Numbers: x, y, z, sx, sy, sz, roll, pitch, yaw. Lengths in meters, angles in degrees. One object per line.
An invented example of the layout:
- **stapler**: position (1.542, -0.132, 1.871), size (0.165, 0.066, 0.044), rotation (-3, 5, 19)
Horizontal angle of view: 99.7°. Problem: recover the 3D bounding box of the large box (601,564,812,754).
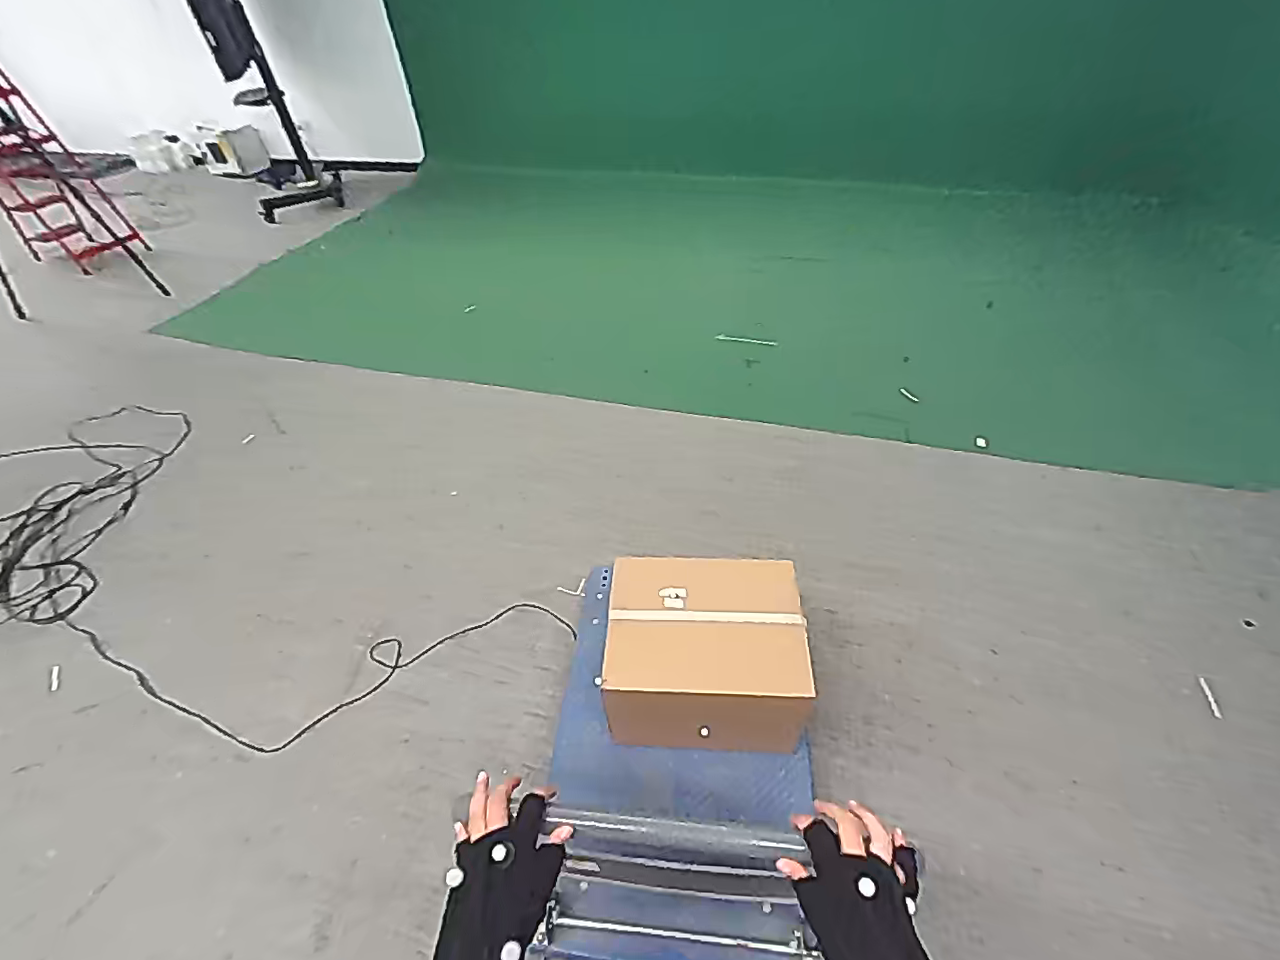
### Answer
- **large box**: position (0.143, 0.405, 1.223), size (0.408, 0.320, 0.320), rotation (0, 44, 6)
